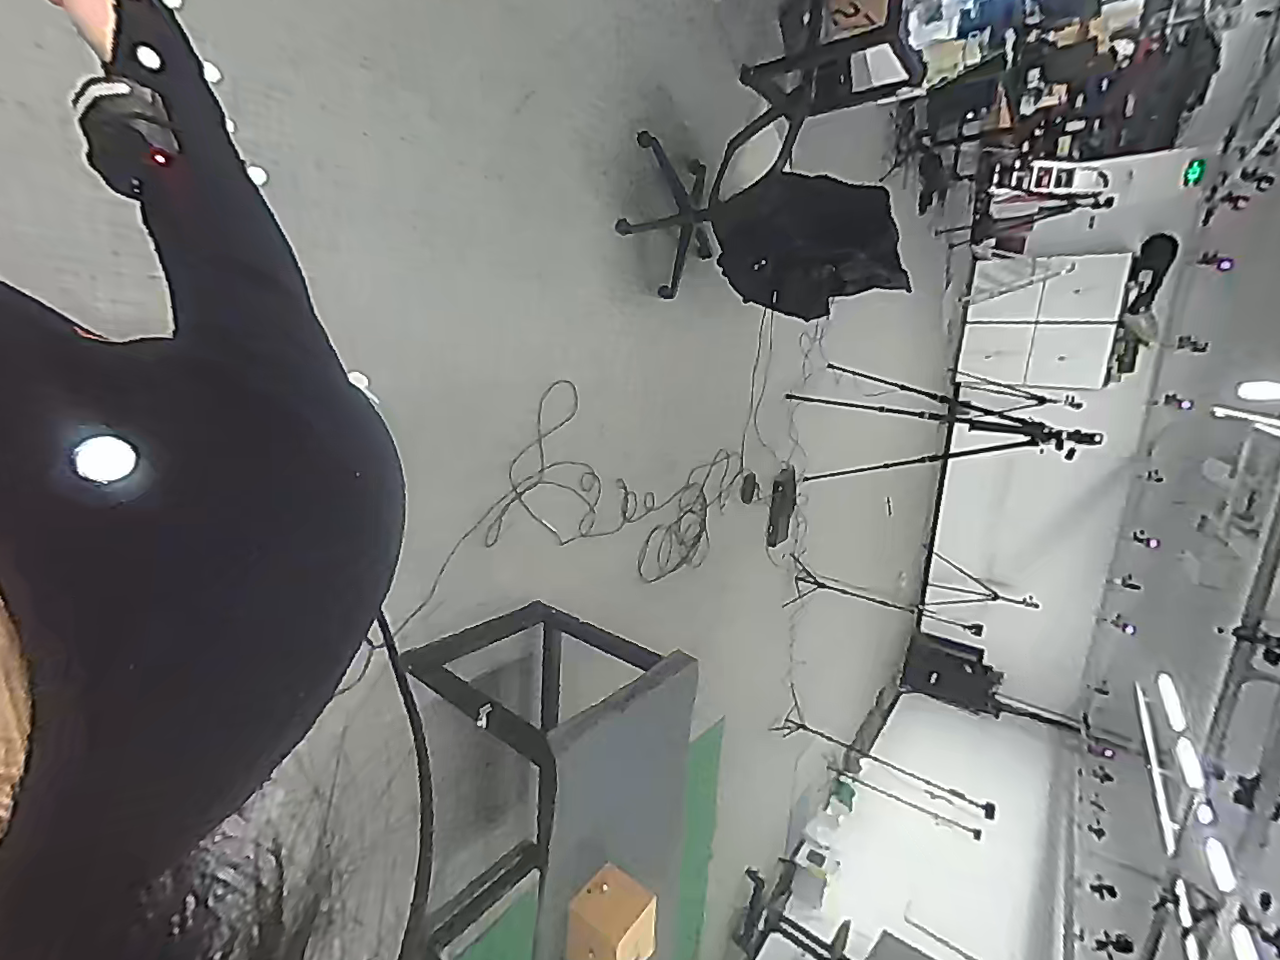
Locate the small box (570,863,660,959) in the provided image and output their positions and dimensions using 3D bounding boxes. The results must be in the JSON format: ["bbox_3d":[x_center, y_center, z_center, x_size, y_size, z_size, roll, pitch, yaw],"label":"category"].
[{"bbox_3d":[-0.068,1.158,1.405,0.168,0.176,0.179,-11,106,-53],"label":"small box"}]
